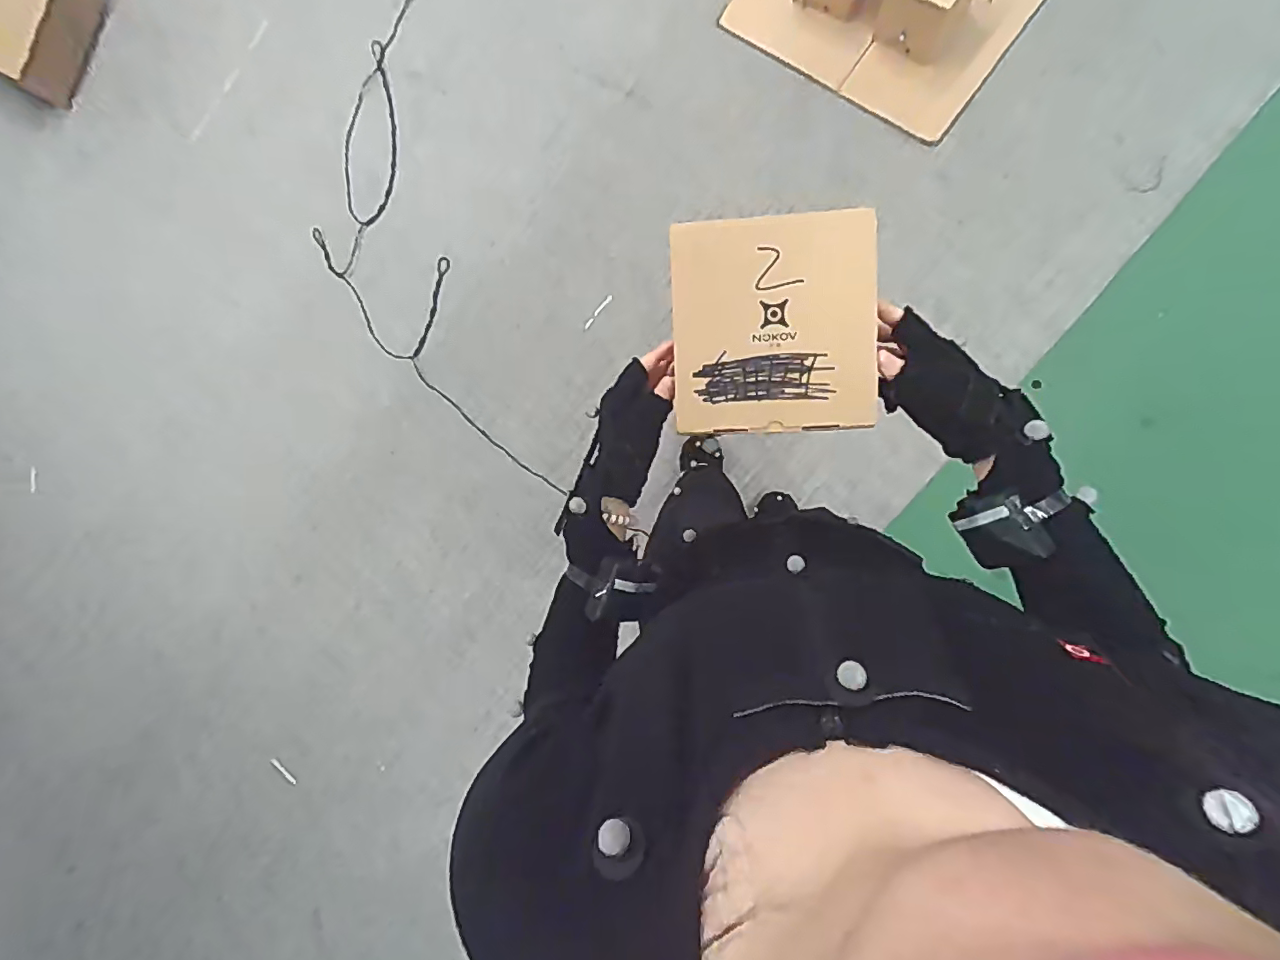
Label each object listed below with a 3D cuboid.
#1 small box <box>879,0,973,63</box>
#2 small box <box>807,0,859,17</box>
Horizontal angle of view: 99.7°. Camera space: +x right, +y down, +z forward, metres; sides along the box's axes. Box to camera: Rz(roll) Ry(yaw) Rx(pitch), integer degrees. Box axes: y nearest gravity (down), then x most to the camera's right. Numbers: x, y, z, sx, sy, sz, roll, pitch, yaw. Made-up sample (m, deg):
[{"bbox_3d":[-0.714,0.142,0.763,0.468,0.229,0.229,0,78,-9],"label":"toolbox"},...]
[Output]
[{"bbox_3d":[0.714,-1.189,1.319,0.168,0.176,0.179,37,96,11],"label":"small box"},{"bbox_3d":[0.510,-1.331,1.359,0.168,0.176,0.179,33,94,10],"label":"small box"}]
